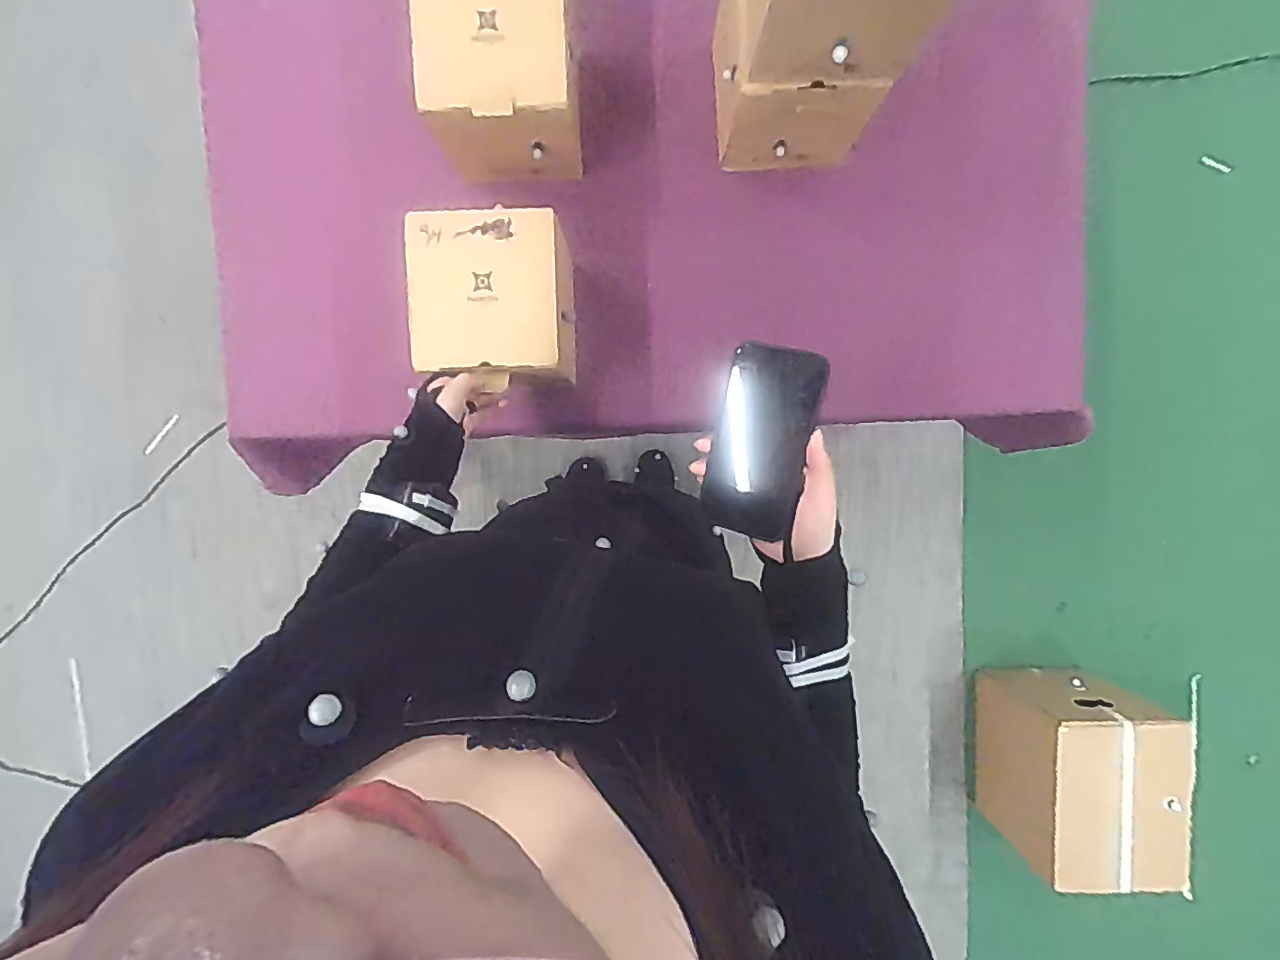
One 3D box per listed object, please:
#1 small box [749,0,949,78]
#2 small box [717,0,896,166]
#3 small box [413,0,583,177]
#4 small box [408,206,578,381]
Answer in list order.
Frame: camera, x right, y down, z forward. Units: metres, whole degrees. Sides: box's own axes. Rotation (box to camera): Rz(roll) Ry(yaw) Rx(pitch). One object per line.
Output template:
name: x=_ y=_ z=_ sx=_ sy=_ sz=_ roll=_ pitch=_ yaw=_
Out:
small box: x=0.195 y=-0.511 z=0.491 sx=0.168 sy=0.176 sz=0.179 roll=-2 pitch=95 yaw=1
small box: x=0.189 y=-0.515 z=0.655 sx=0.168 sy=0.176 sz=0.179 roll=-4 pitch=94 yaw=1
small box: x=-0.160 y=-0.493 z=0.659 sx=0.168 sy=0.176 sz=0.179 roll=-2 pitch=94 yaw=-1
small box: x=-0.170 y=-0.217 z=0.675 sx=0.168 sy=0.176 sz=0.179 roll=-1 pitch=94 yaw=0
